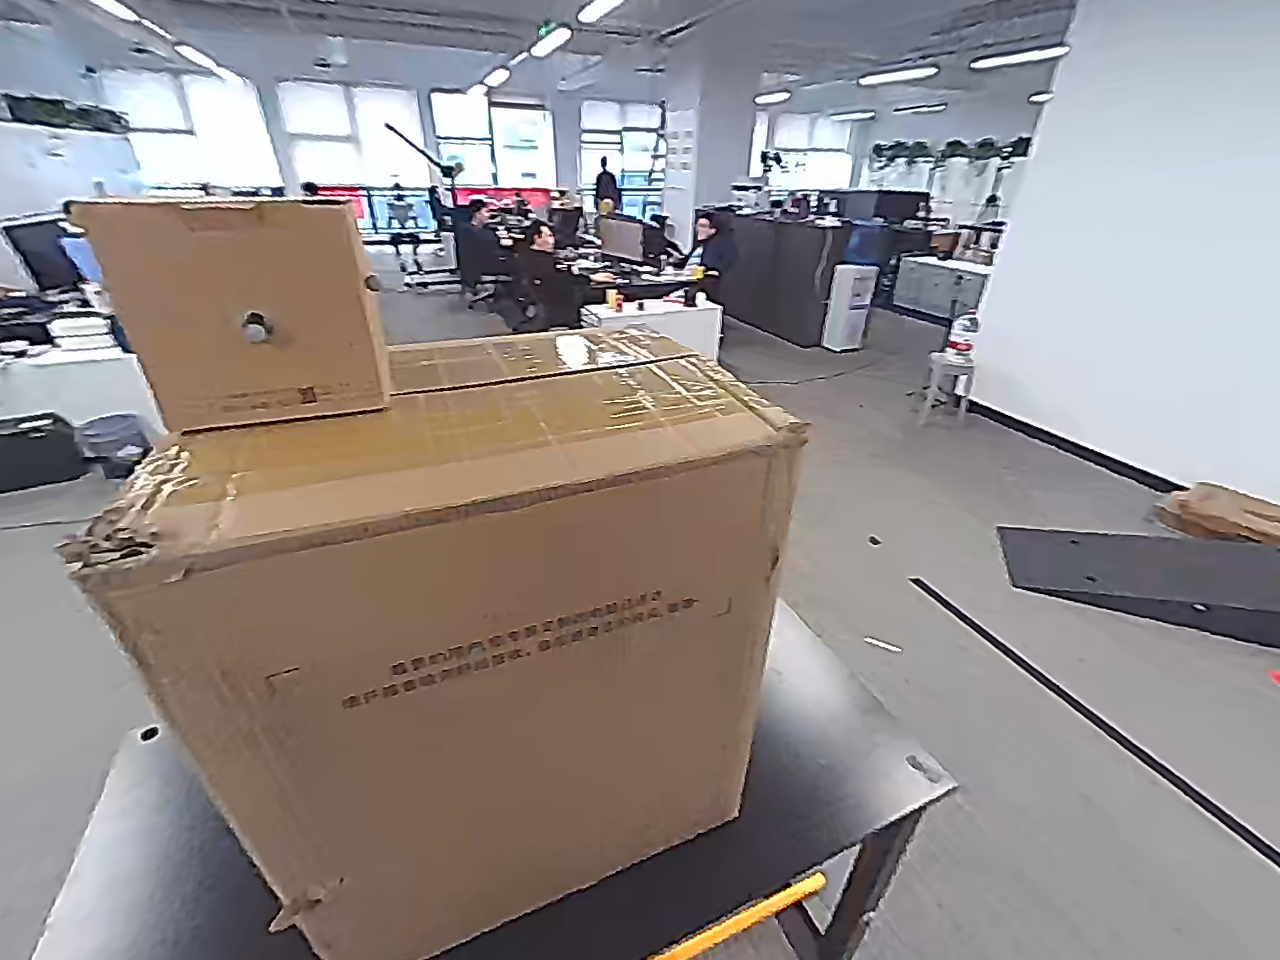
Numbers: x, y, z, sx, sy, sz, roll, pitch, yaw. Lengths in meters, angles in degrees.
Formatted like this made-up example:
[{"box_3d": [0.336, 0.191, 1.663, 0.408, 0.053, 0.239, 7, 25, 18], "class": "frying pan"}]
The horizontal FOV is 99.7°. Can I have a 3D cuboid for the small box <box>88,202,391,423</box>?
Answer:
[{"box_3d": [-0.334, -0.158, 0.499, 0.168, 0.176, 0.179, -10, 30, -21], "class": "small box"}]
